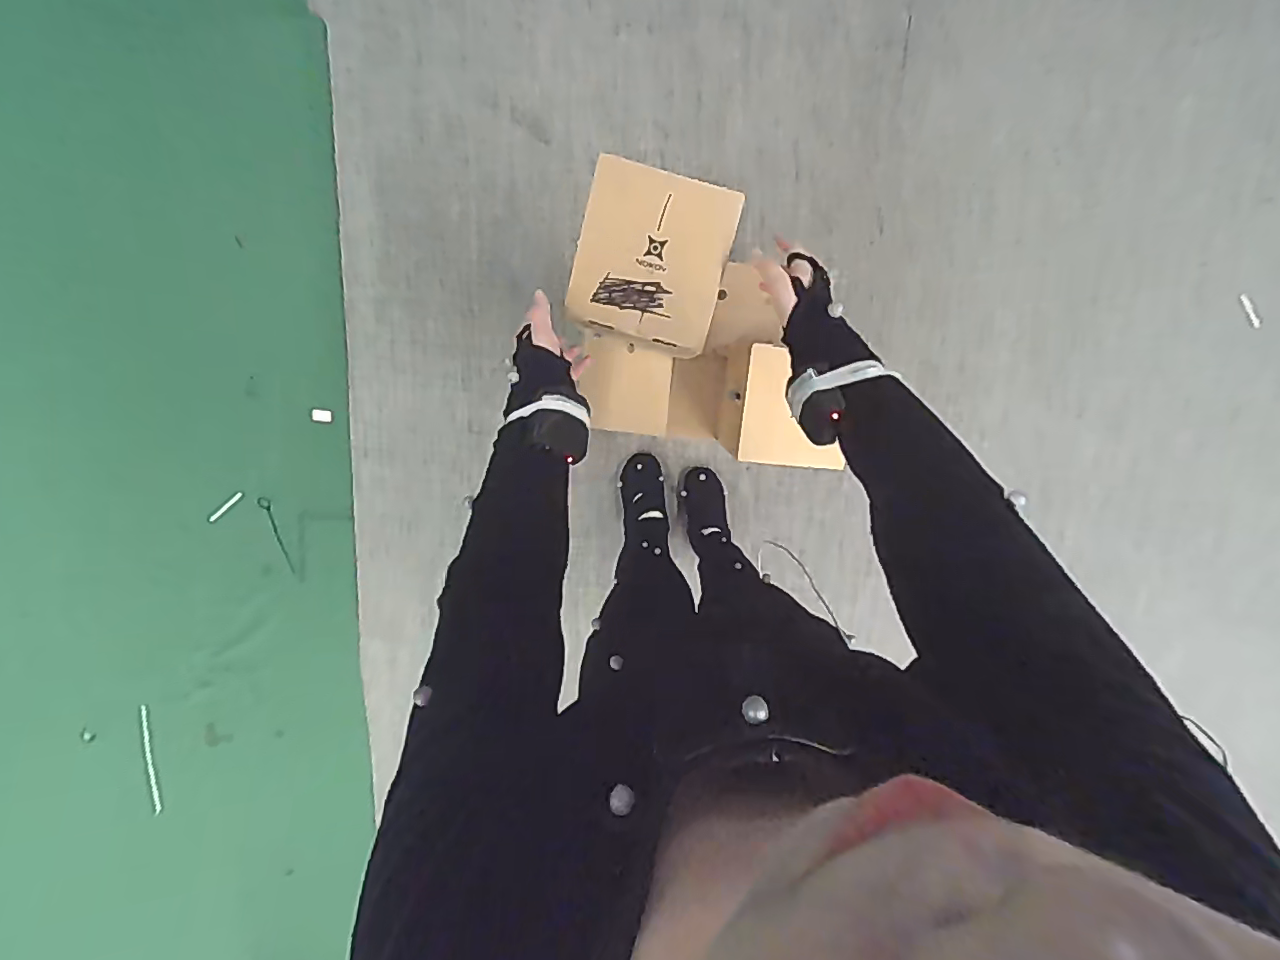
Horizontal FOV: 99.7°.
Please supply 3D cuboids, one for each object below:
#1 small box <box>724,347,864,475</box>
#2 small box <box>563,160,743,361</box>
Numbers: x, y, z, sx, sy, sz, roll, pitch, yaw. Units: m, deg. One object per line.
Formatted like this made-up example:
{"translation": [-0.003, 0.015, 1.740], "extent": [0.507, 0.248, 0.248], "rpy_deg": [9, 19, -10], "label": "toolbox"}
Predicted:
{"translation": [0.234, -0.115, 0.870], "extent": [0.168, 0.176, 0.179], "rpy_deg": [5, 101, -1], "label": "small box"}
{"translation": [0.014, -0.254, 0.676], "extent": [0.168, 0.176, 0.179], "rpy_deg": [15, 99, -3], "label": "small box"}
